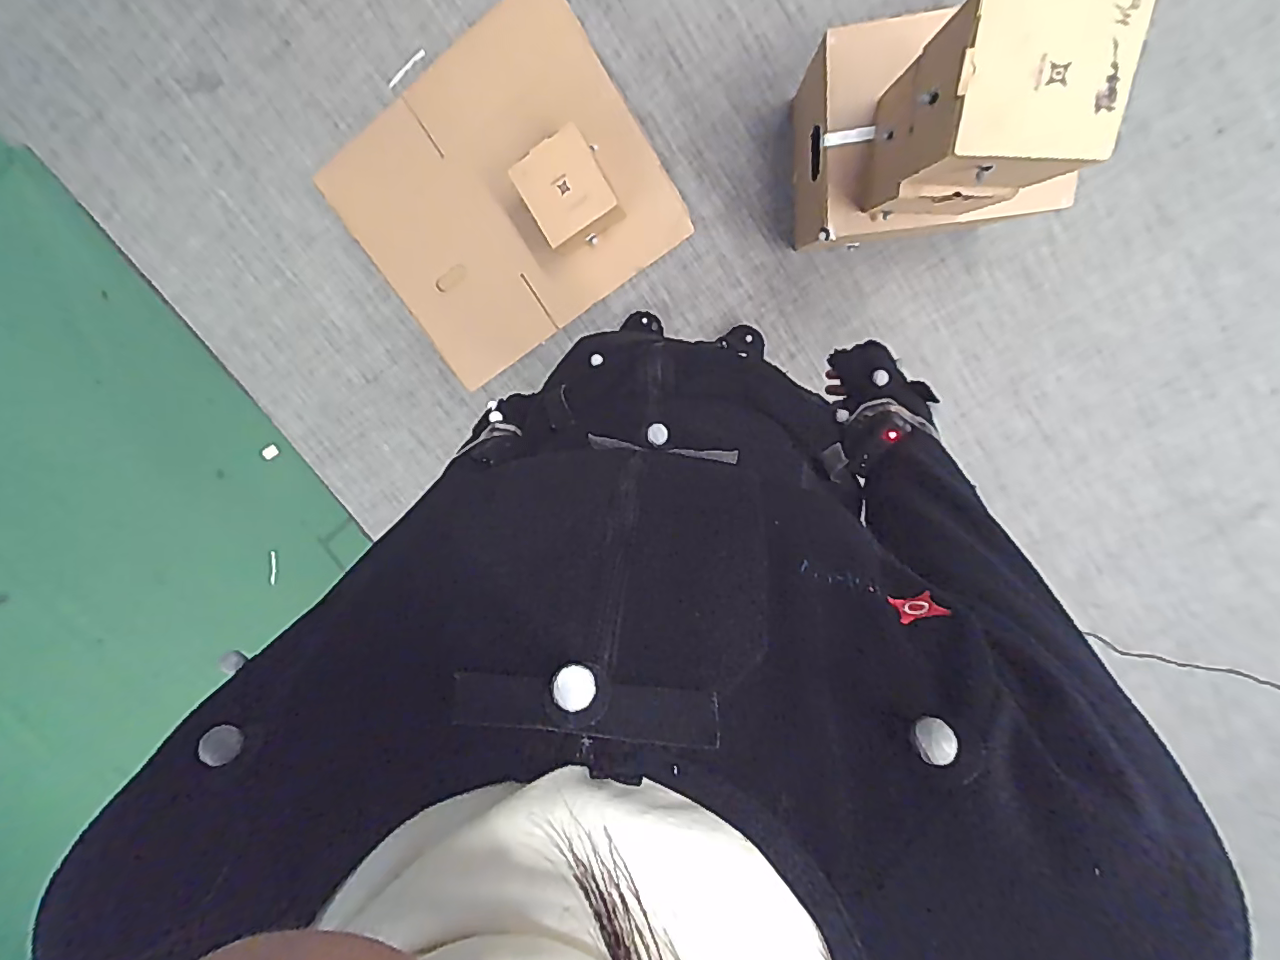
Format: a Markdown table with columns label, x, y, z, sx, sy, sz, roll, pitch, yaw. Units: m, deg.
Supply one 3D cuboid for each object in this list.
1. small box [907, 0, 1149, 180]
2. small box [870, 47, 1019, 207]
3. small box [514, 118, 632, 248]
| label | x | y | z | sx | sy | sz | roll | pitch | yaw |
| --- | --- | --- | --- | --- | --- | --- | --- | --- | --- |
| small box | 0.451 | -0.477 | 0.661 | 0.179 | 0.176 | 0.168 | 1 | 107 | 5 |
| small box | 0.461 | -0.518 | 0.816 | 0.168 | 0.176 | 0.179 | 3 | 109 | 5 |
| small box | -0.135 | -0.622 | 1.161 | 0.168 | 0.176 | 0.179 | -29 | 104 | 16 |
